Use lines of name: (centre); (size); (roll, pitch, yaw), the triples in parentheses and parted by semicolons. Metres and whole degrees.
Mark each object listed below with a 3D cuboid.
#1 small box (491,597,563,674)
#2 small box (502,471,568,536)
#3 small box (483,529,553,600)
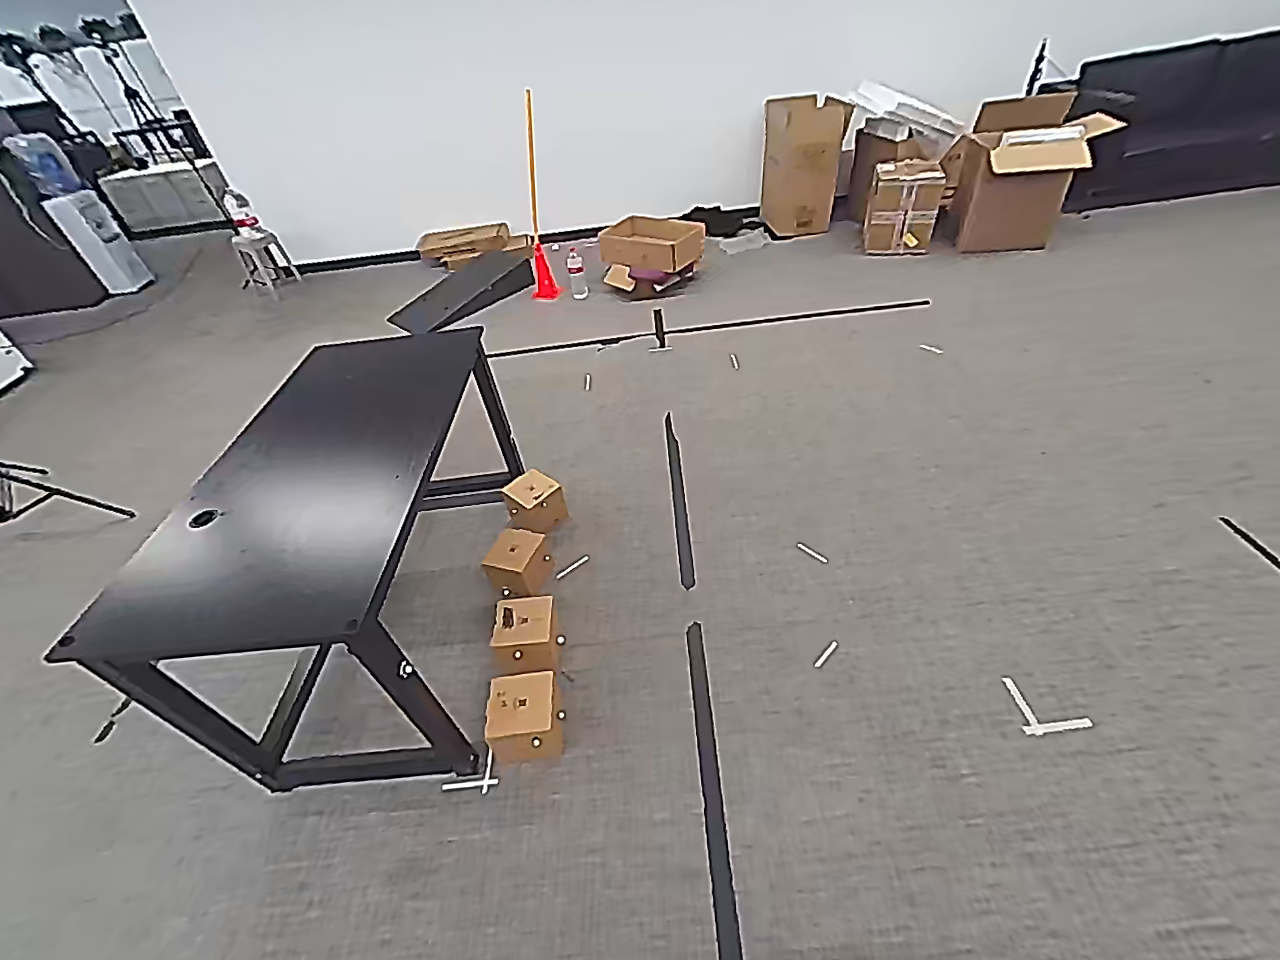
small box: (-0.347, 0.490, 1.690); (0.179, 0.176, 0.168); (-6, 42, 1)
small box: (-0.412, 0.097, 2.135); (0.179, 0.176, 0.168); (27, 53, 33)
small box: (-0.423, 0.302, 1.913); (0.168, 0.176, 0.179); (8, 45, 18)
